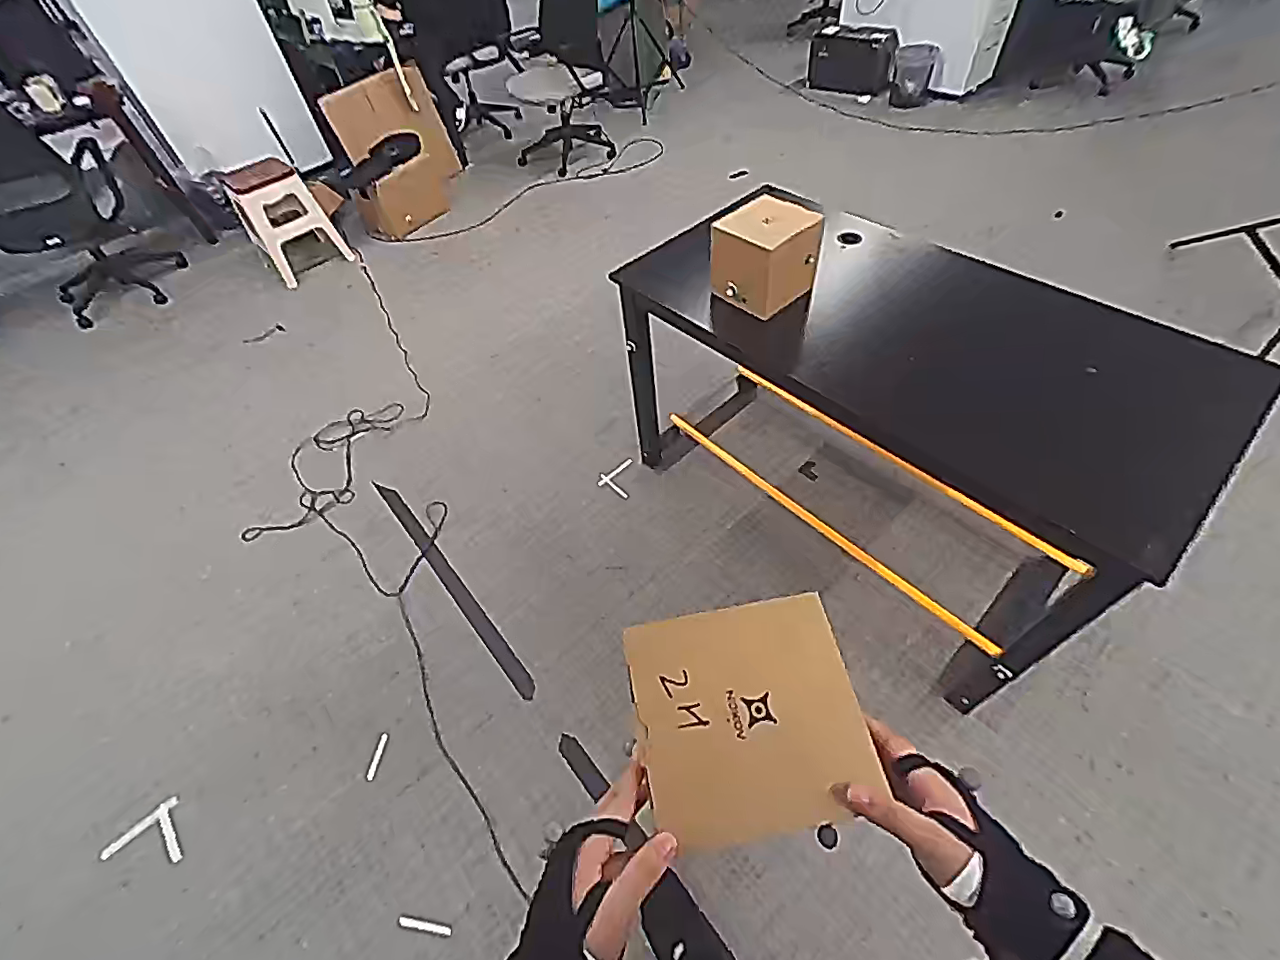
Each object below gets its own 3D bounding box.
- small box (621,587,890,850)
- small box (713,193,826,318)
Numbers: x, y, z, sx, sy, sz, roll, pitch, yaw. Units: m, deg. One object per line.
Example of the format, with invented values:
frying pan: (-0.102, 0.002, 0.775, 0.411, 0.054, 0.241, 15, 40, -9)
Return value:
small box: (0.081, 0.212, 0.484, 0.179, 0.176, 0.168, -9, 59, -4)
small box: (0.274, -0.489, 1.182, 0.179, 0.176, 0.168, -38, 57, -21)
